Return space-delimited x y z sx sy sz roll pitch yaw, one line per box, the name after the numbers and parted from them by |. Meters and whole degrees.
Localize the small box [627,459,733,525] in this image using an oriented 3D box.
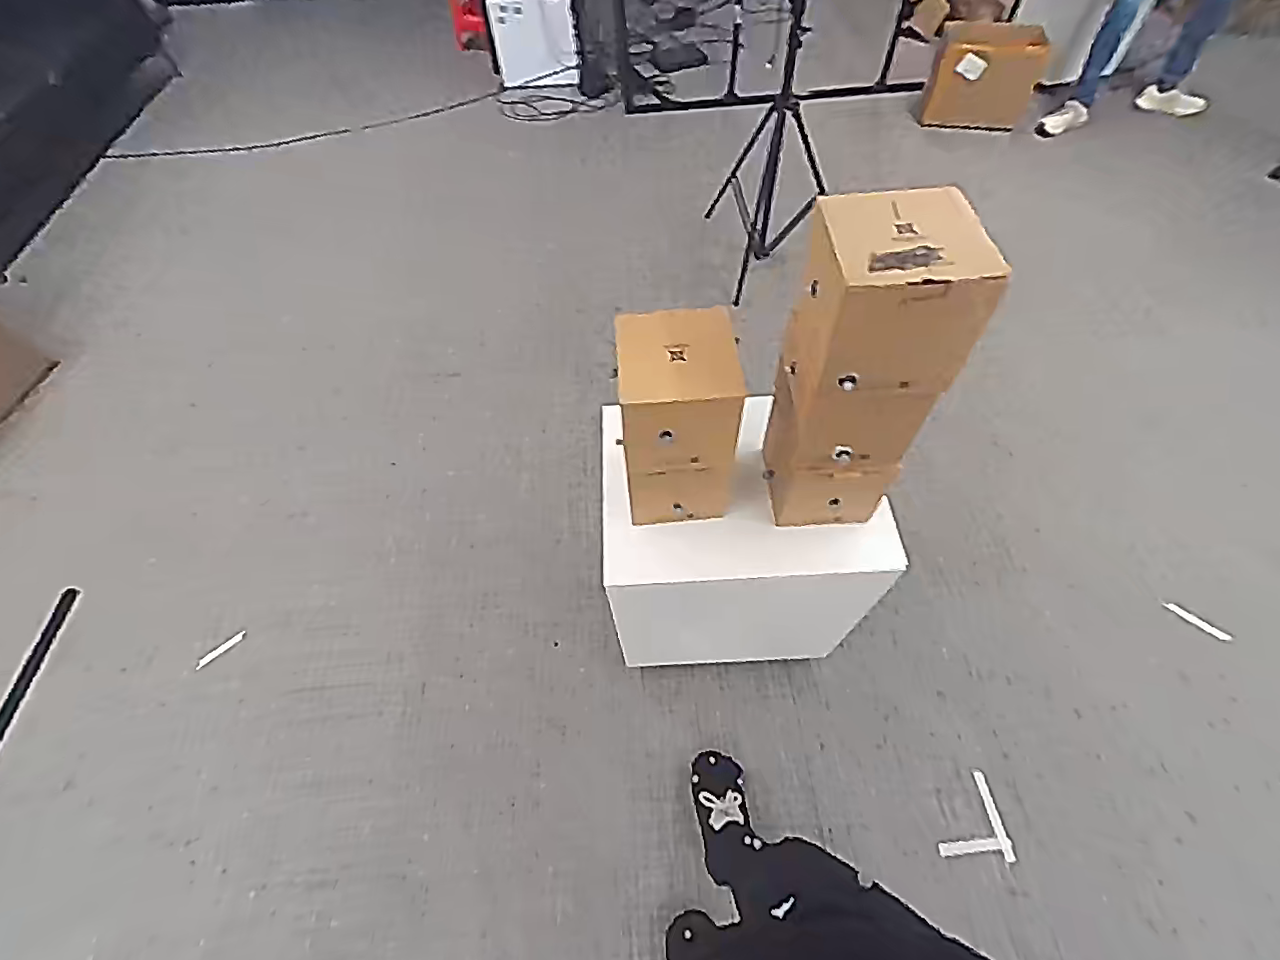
0.060 -0.040 0.943 0.168 0.176 0.179 -5 57 0 | small box

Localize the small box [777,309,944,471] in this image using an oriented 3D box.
0.305 -0.133 0.795 0.168 0.176 0.179 -3 57 3 | small box

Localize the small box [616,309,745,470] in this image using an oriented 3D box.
0.055 -0.126 0.805 0.168 0.176 0.179 -4 56 0 | small box

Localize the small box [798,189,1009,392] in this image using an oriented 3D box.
0.297 -0.220 0.656 0.168 0.176 0.179 -2 55 4 | small box
